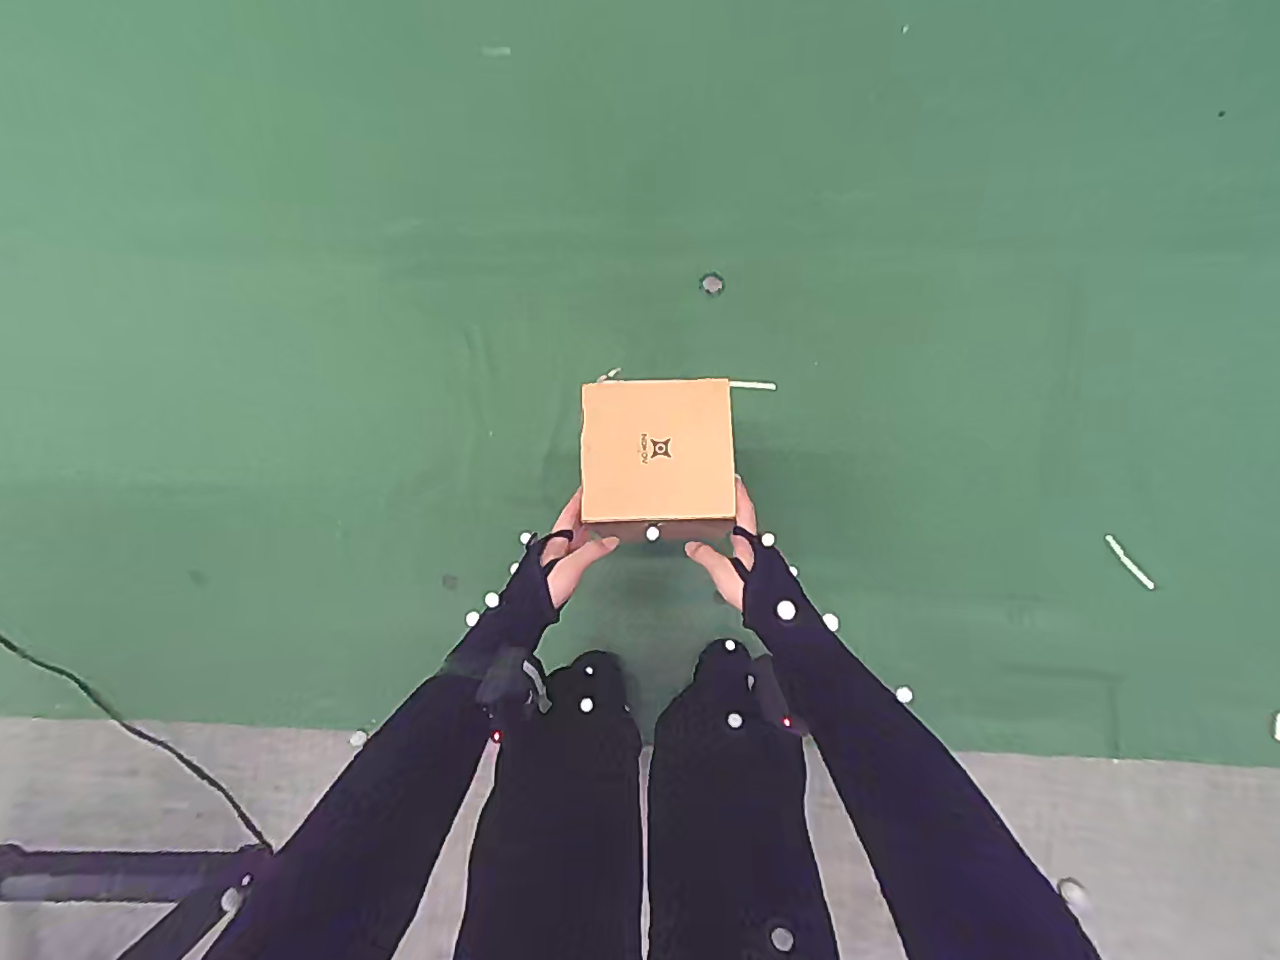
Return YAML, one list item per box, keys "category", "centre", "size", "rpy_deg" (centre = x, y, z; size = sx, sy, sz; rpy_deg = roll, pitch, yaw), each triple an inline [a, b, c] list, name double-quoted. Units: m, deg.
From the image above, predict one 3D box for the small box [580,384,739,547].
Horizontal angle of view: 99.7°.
- category: "small box"
  centre: [0.025, -0.010, 0.688]
  size: [0.179, 0.176, 0.168]
  rpy_deg: [-2, 73, 4]
